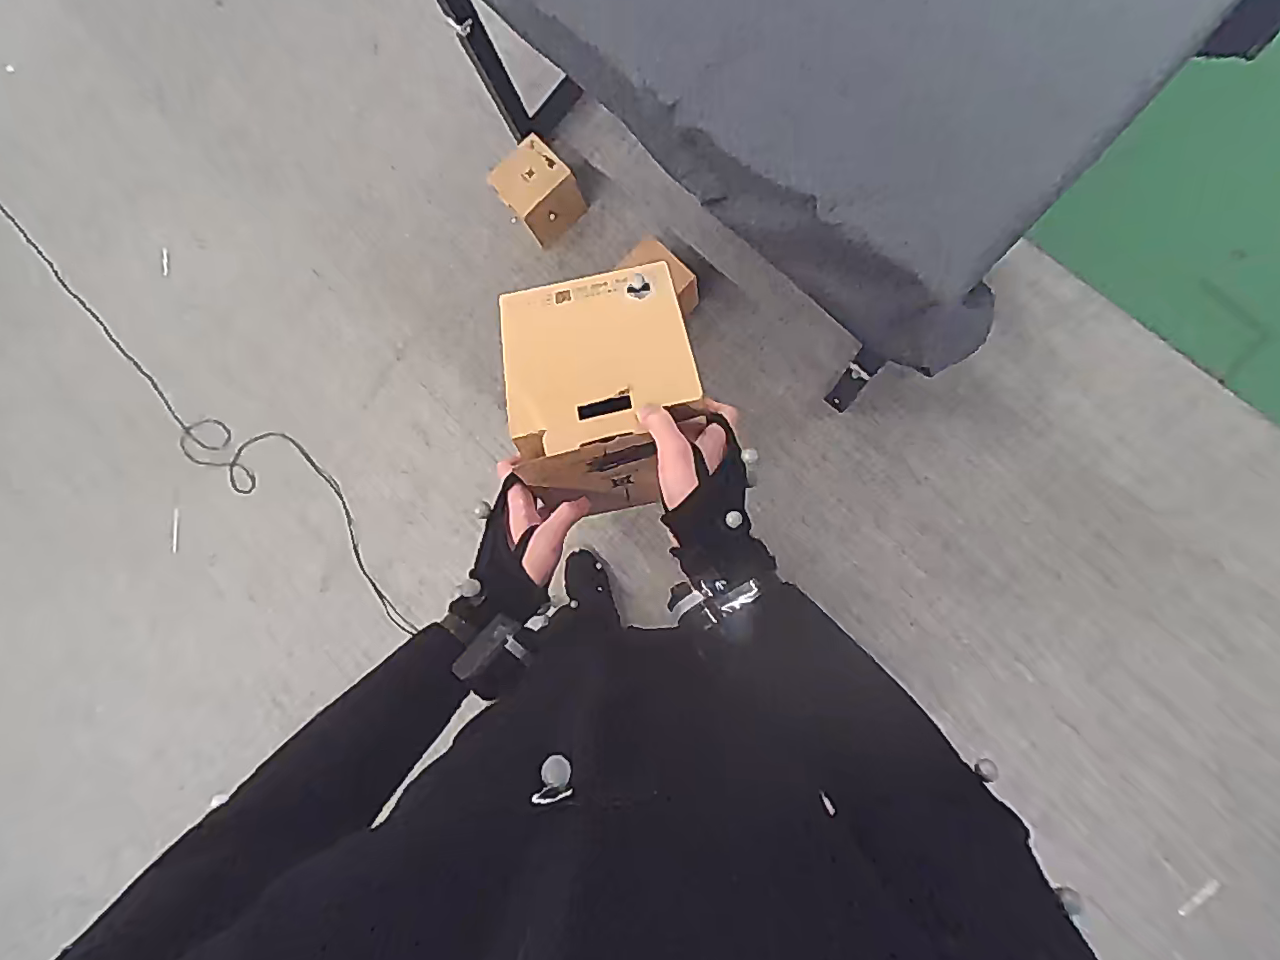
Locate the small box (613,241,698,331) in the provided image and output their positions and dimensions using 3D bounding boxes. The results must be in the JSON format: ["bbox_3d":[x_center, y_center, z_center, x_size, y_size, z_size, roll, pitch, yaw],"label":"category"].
[{"bbox_3d":[0.037,-0.470,1.410,0.179,0.176,0.168,-45,80,2],"label":"small box"}]

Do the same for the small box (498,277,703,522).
[{"bbox_3d":[-0.037,-0.082,0.549,0.168,0.179,0.176,-12,62,3],"label":"small box"}]
